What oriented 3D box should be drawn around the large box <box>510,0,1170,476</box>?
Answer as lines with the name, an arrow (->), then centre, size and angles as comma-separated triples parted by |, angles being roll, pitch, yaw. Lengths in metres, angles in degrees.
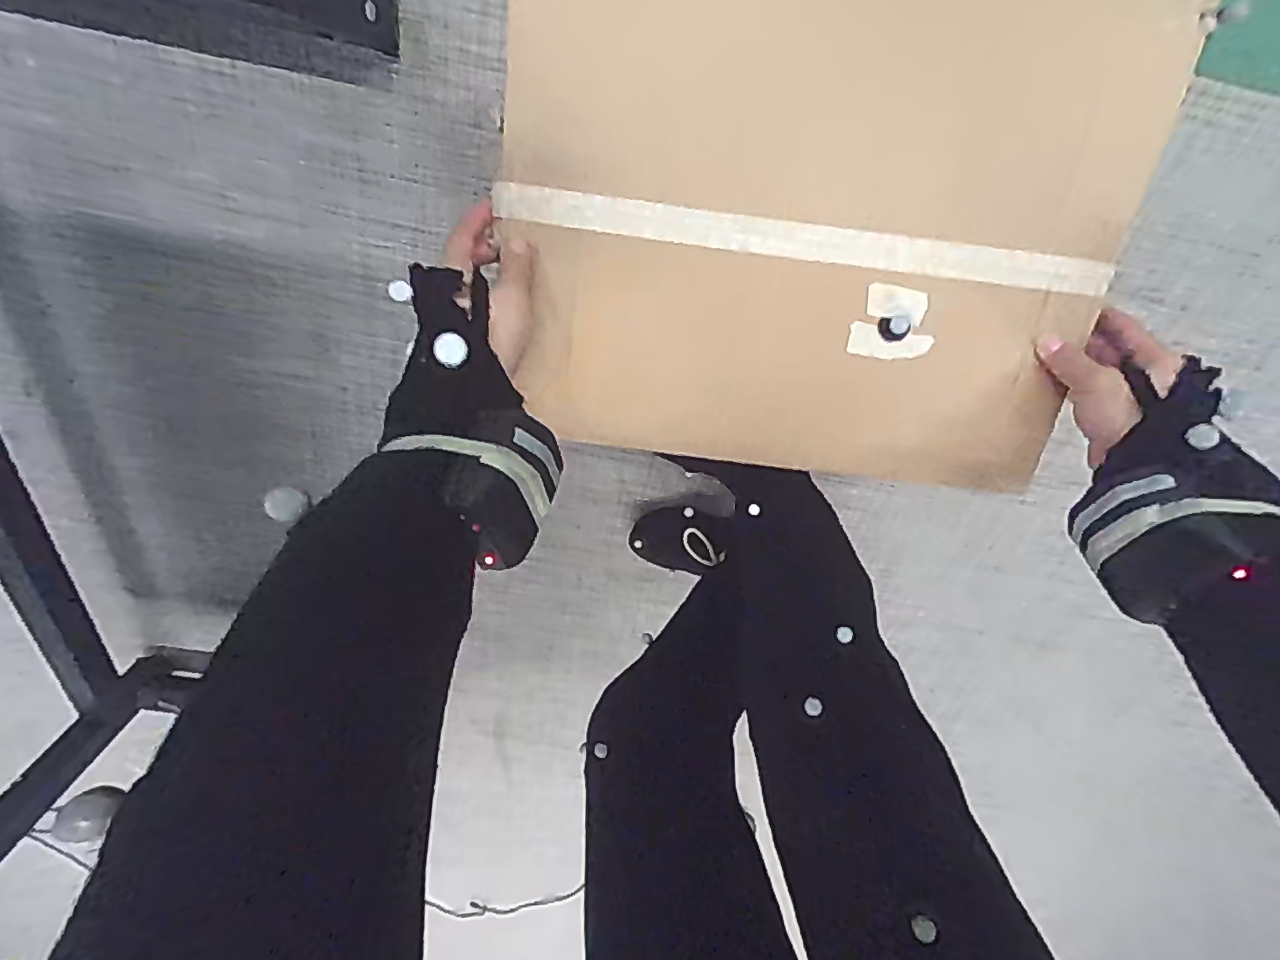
large box -> 0.110, -0.211, 0.509 | 0.408, 0.320, 0.320 | 6, 110, -3
